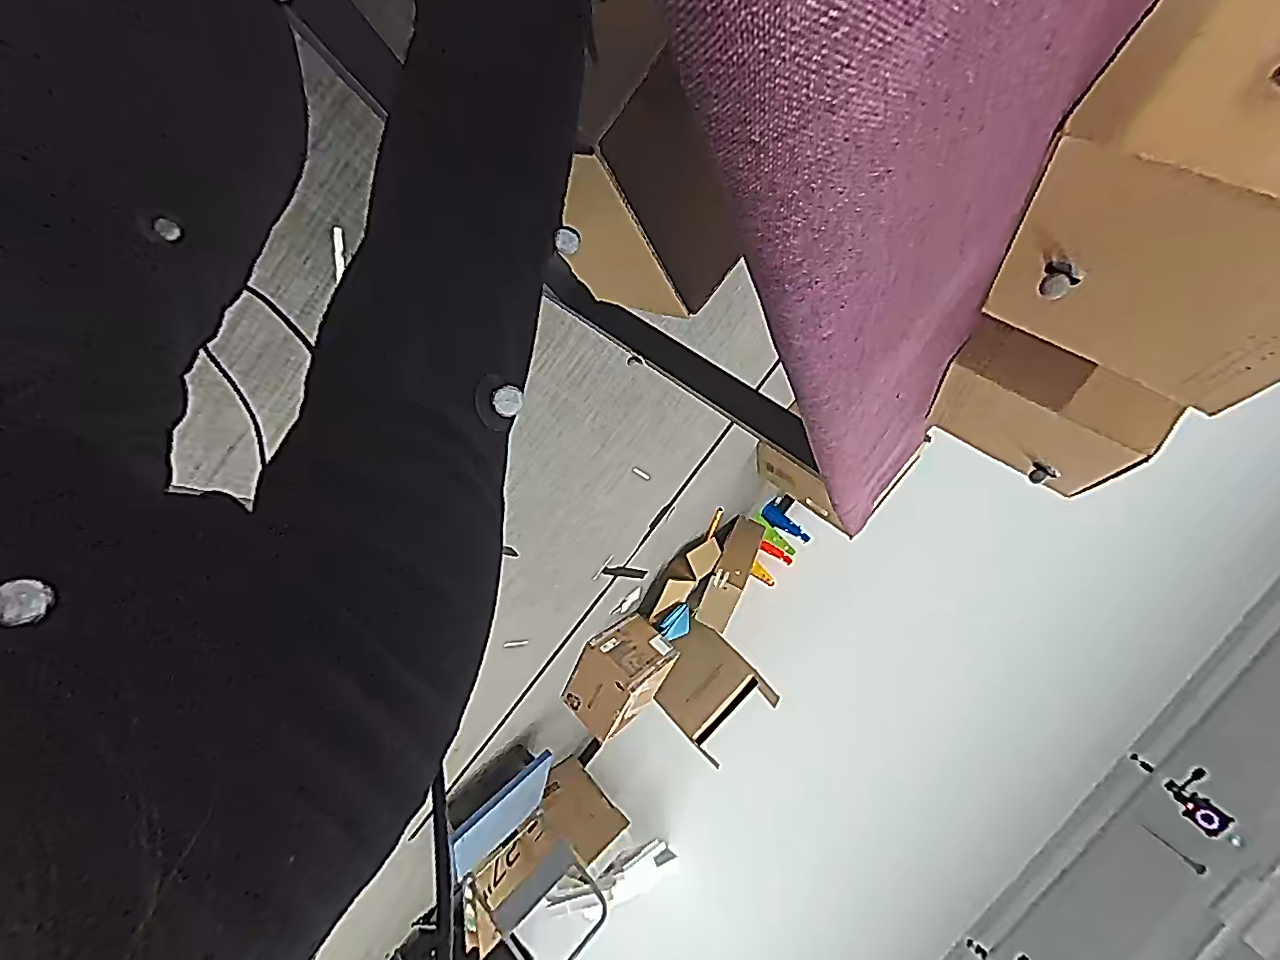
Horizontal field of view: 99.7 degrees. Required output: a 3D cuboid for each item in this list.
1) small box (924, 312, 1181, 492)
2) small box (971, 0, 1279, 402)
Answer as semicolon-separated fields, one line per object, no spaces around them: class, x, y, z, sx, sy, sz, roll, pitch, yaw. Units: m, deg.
small box;0.419;-0.114;0.549;0.168;0.176;0.179;-54;157;1
small box;0.345;-0.176;0.322;0.168;0.176;0.179;-53;156;1
